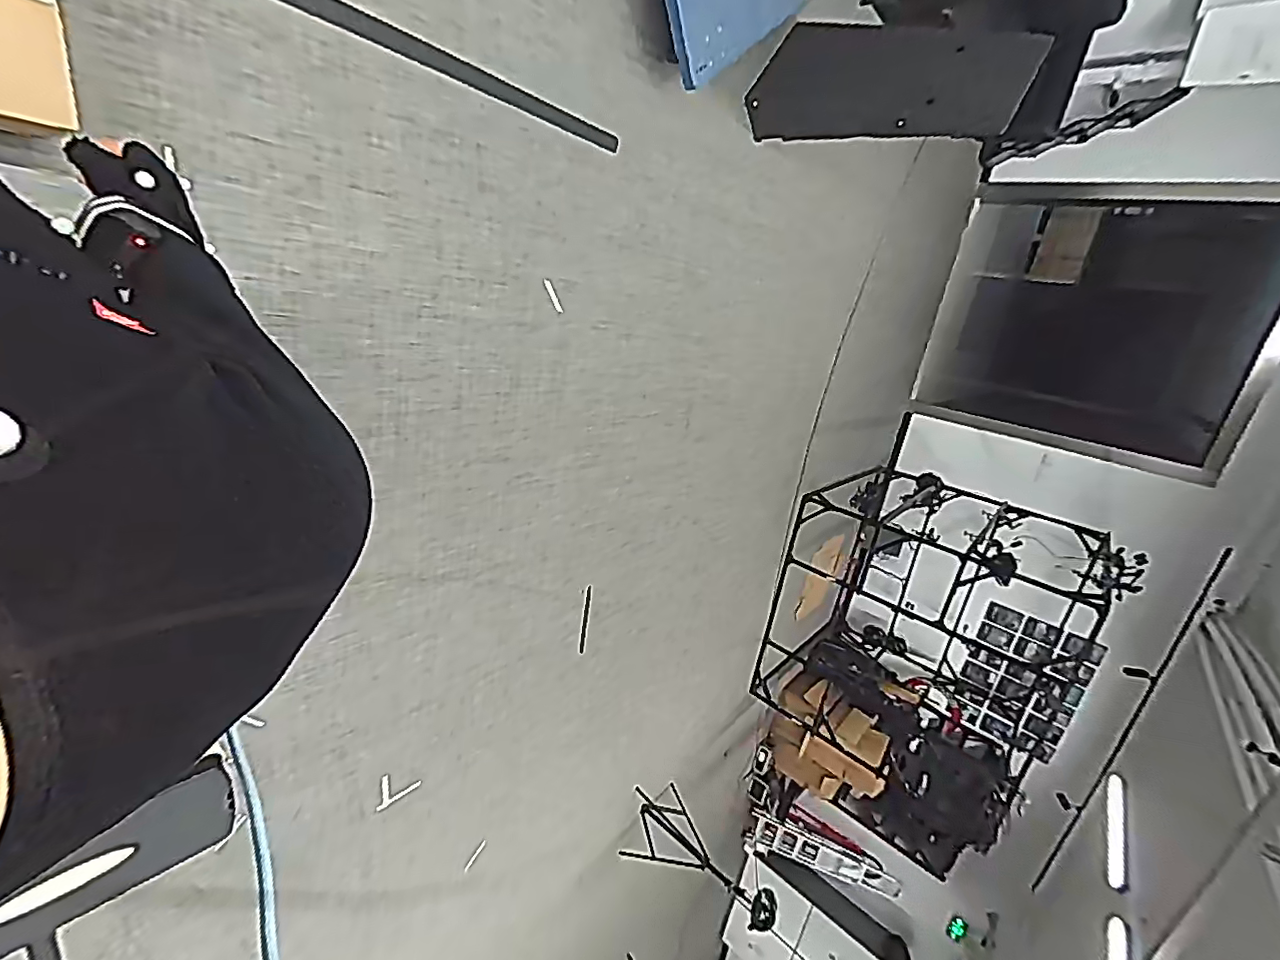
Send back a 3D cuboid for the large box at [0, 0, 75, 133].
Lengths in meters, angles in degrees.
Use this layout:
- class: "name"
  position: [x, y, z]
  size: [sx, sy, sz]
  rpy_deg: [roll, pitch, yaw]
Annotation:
- class: "large box"
  position: [-1.025, -0.654, 0.651]
  size: [0.408, 0.320, 0.320]
  rpy_deg: [-16, 122, -50]
